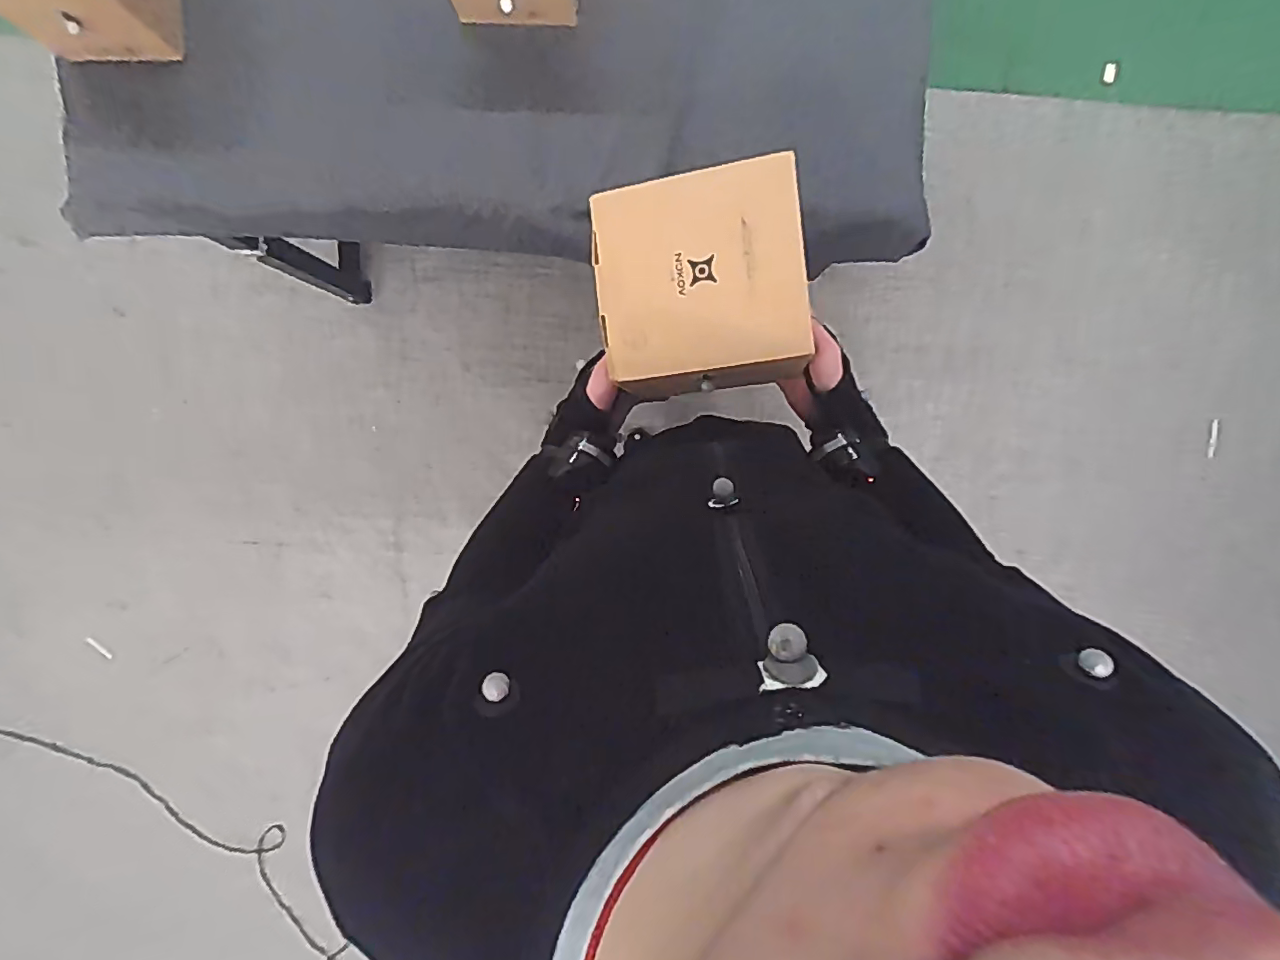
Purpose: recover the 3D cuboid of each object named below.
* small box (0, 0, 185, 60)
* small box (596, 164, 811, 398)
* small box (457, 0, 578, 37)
[{"bbox_3d":[-0.716,-0.666,0.674,0.168,0.176,0.179,-1,95,-1],"label":"small box"},{"bbox_3d":[0.067,-0.179,0.547,0.179,0.176,0.168,-6,93,10],"label":"small box"},{"bbox_3d":[-0.166,-0.715,0.681,0.168,0.176,0.179,1,96,-1],"label":"small box"}]
